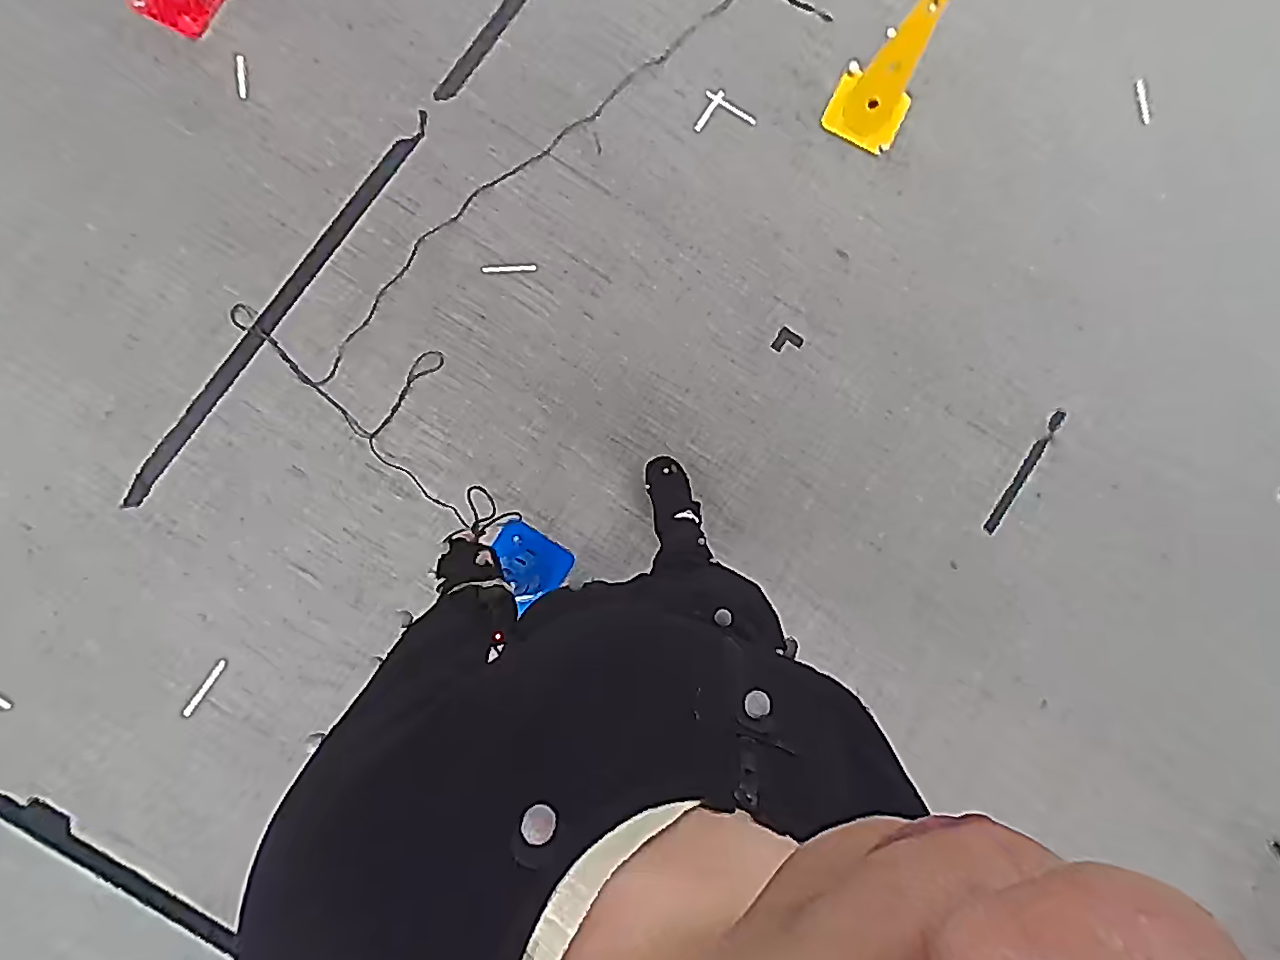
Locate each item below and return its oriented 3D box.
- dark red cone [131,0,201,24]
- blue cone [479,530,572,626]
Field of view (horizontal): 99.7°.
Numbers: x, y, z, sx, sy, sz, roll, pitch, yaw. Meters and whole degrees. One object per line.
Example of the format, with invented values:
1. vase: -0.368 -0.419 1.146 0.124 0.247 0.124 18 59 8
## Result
1. dark red cone: -1.181 -1.279 1.200 0.201 0.394 0.202 26 85 -2
2. blue cone: -0.272 0.228 1.167 0.192 0.380 0.193 34 85 -1
